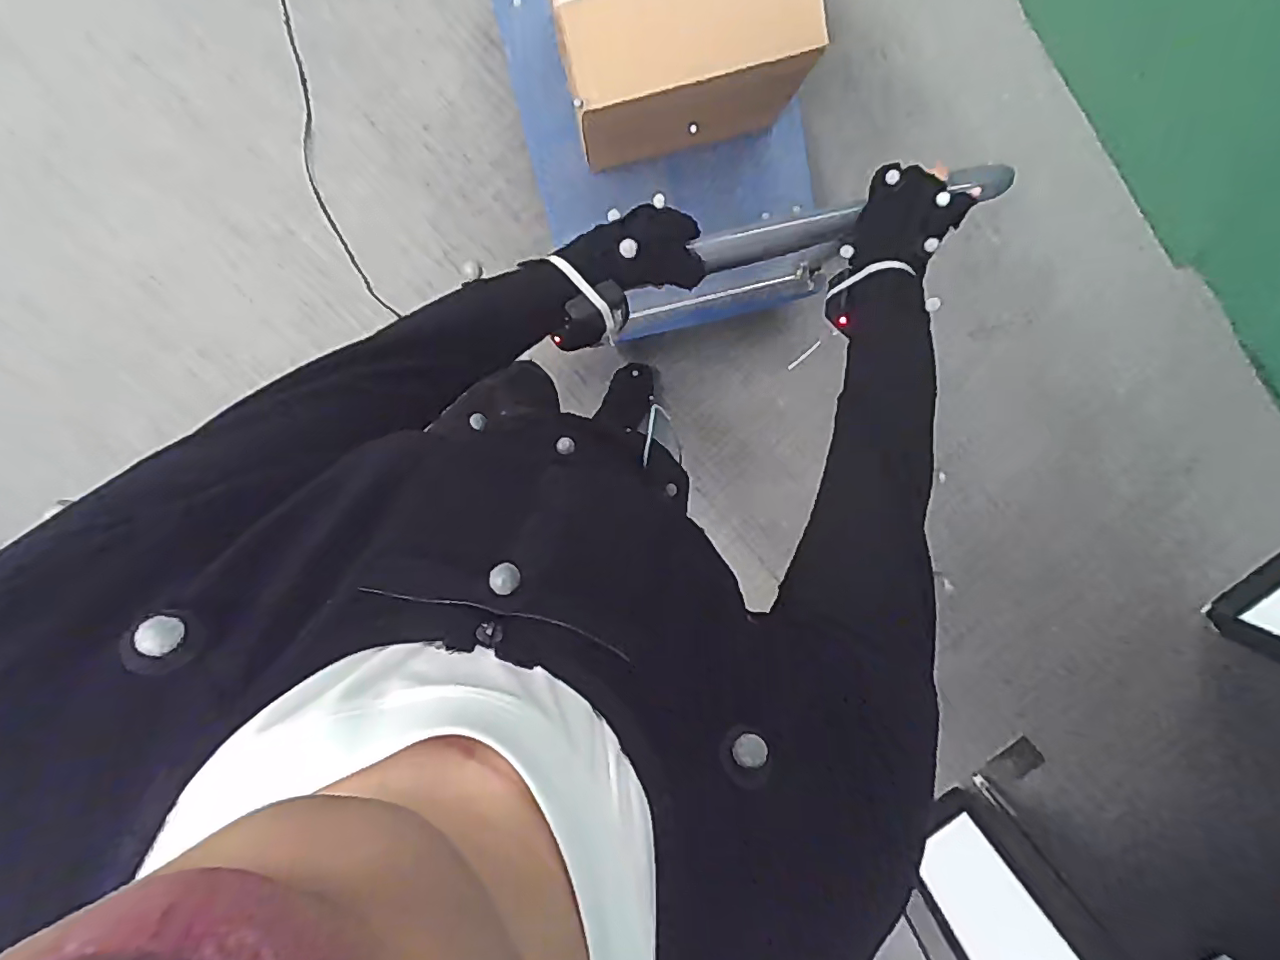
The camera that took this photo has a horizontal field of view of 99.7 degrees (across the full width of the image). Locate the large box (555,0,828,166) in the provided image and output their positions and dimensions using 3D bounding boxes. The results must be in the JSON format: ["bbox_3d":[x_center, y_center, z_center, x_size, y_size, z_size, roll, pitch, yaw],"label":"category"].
[{"bbox_3d":[0.067,-0.822,0.972,0.408,0.320,0.320,-14,104,2],"label":"large box"}]
